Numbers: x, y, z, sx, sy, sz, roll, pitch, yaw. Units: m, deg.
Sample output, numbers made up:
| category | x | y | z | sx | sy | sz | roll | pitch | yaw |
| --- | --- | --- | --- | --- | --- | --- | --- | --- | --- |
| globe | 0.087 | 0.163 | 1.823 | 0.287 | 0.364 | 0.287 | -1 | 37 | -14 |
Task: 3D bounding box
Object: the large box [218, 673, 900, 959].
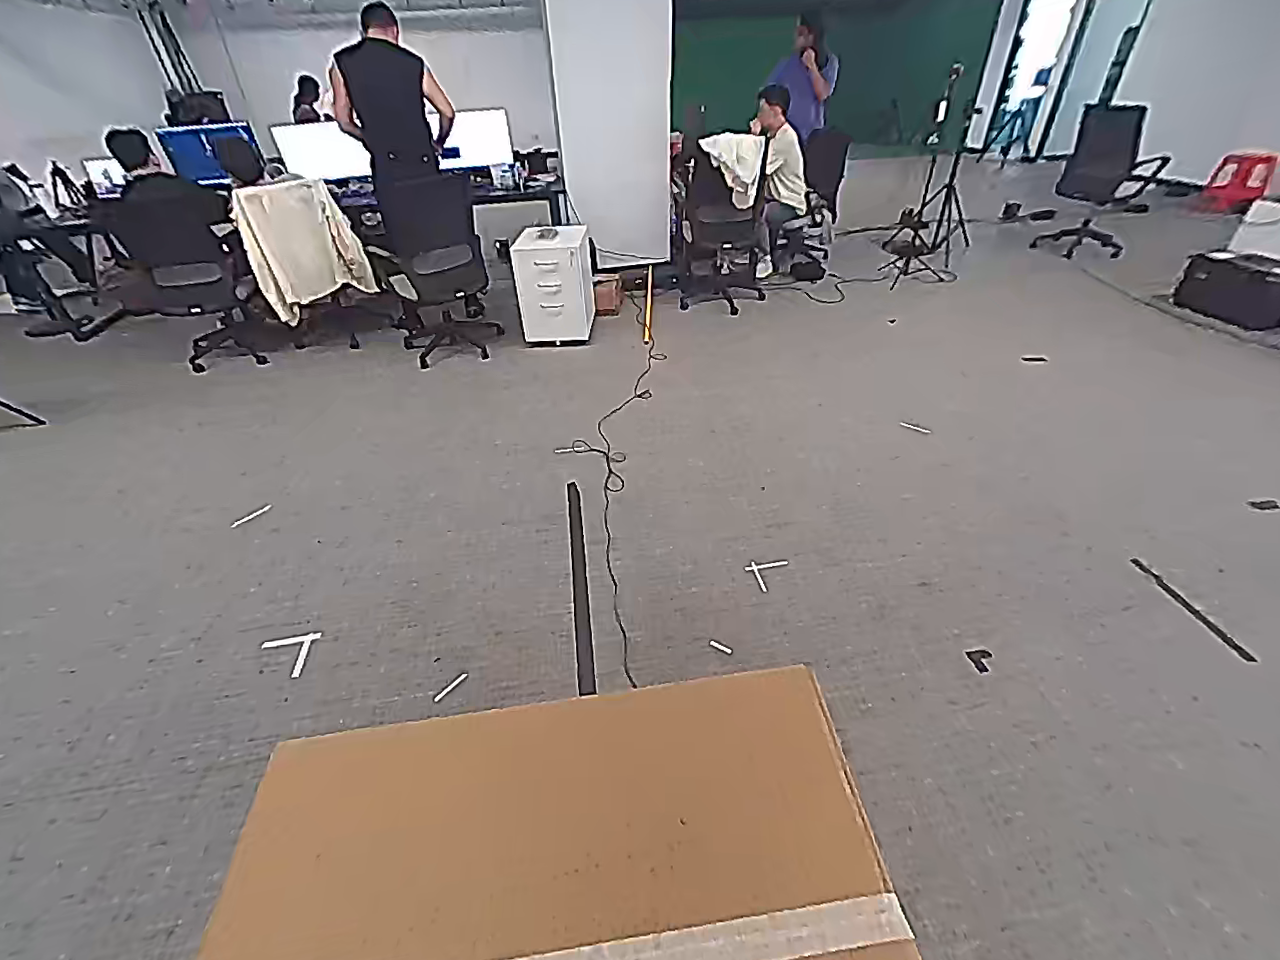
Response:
| category | x | y | z | sx | sy | sz | roll | pitch | yaw |
| --- | --- | --- | --- | --- | --- | --- | --- | --- | --- |
| large box | -0.040 | 0.389 | 0.410 | 0.408 | 0.320 | 0.320 | -8 | 42 | -2 |
